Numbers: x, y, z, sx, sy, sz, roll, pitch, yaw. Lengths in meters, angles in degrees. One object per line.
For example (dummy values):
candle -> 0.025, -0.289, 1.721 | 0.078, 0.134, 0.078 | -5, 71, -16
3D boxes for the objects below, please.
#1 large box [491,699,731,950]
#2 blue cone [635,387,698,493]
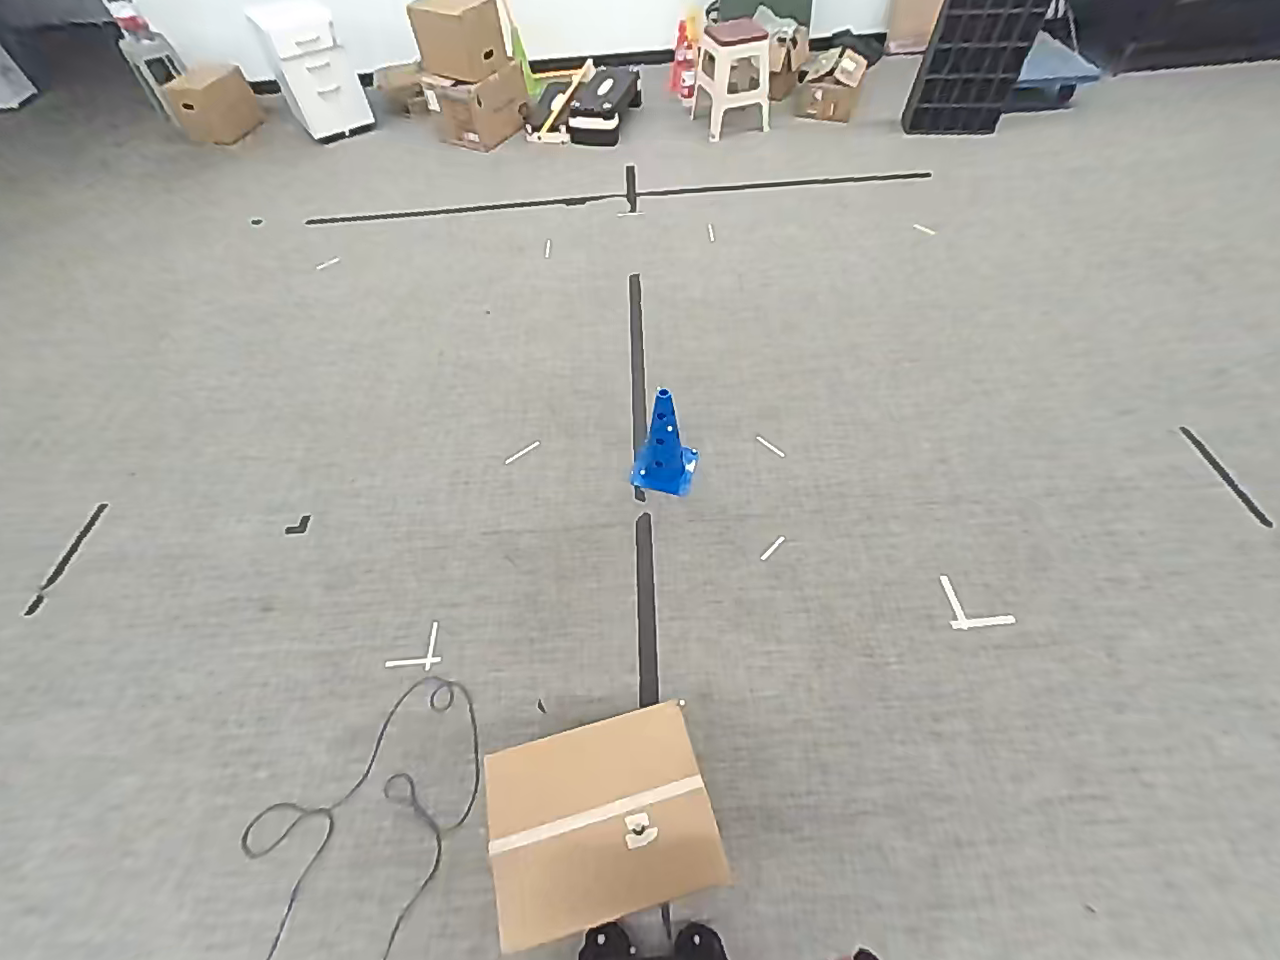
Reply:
large box -> -0.061, 0.710, 1.127 | 0.408, 0.320, 0.320 | -14, 53, -6
blue cone -> 0.085, -0.139, 1.712 | 0.193, 0.380, 0.192 | 14, 56, 13
